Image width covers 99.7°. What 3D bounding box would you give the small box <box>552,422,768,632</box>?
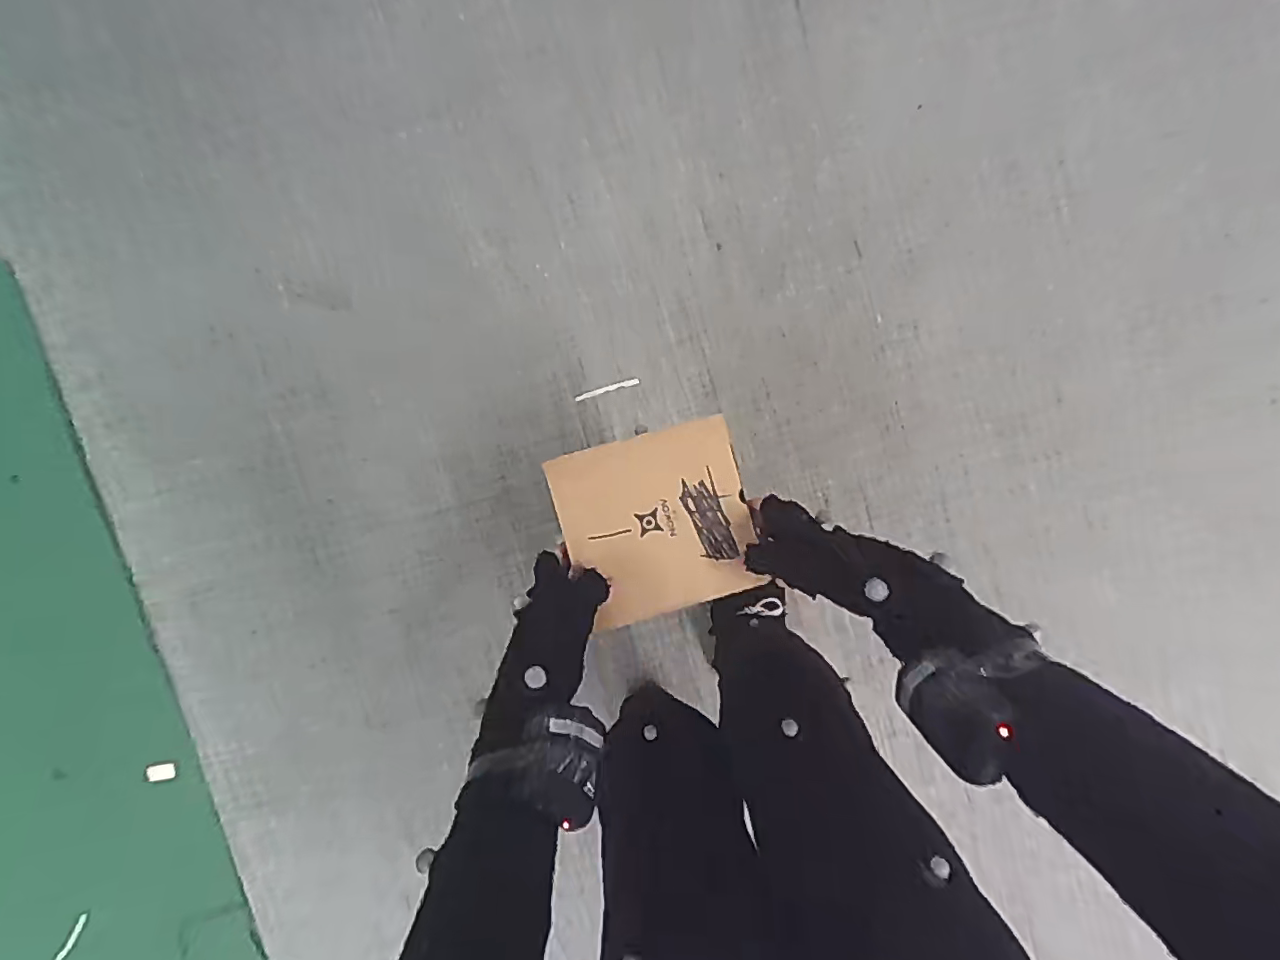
[{"bbox_3d":[0.014,0.046,0.588,0.179,0.176,0.168,-15,87,-4],"label":"small box"}]
